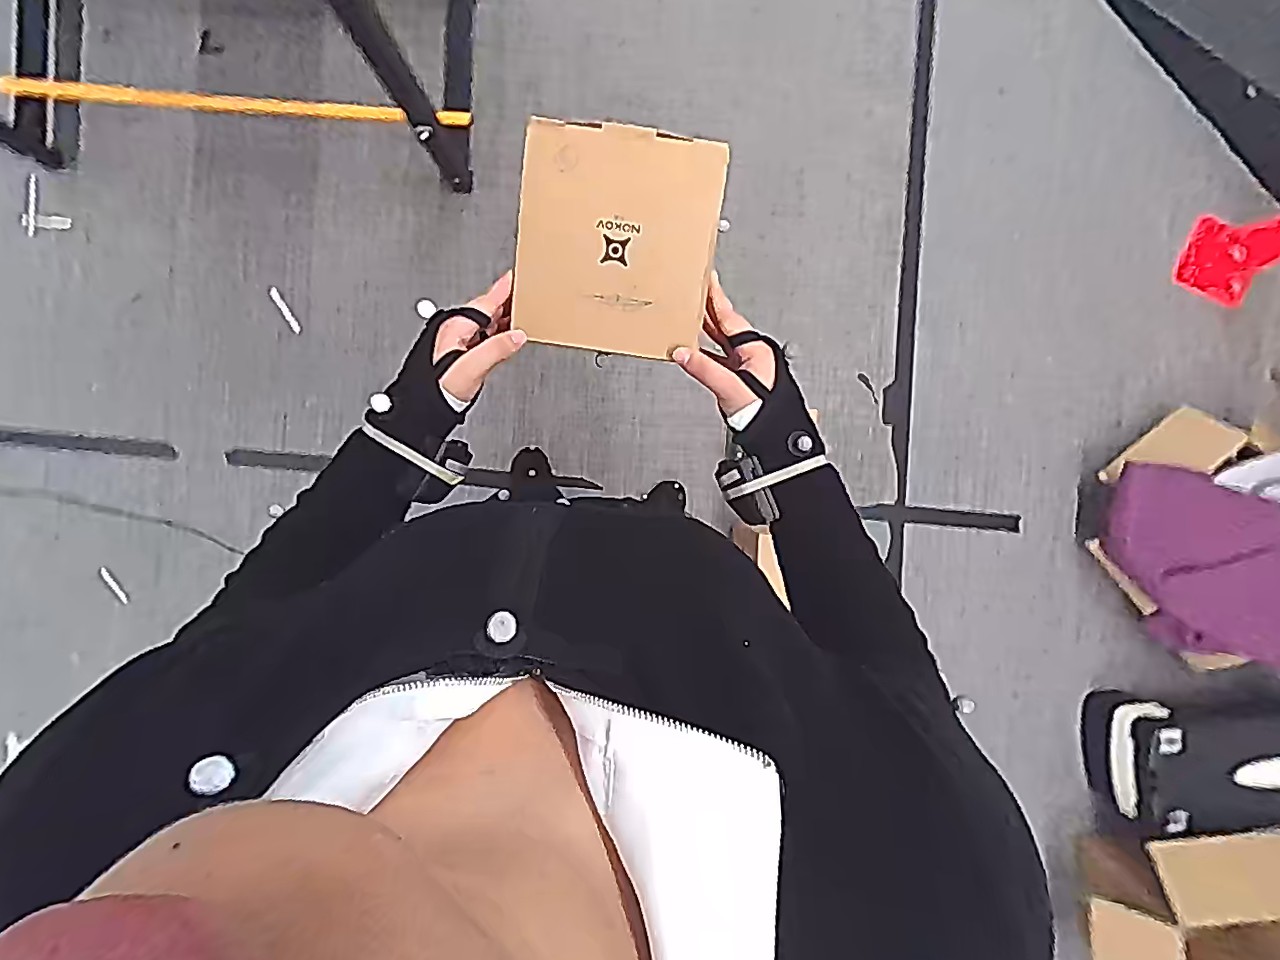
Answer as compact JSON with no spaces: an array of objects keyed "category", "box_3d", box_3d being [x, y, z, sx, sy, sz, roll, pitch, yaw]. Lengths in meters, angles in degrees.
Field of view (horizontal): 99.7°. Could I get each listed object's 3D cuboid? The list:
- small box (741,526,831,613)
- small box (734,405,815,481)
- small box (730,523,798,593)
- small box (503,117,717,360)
[{"category":"small box","box_3d":[0.333,0.201,1.262,0.168,0.176,0.179,2,92,0]},{"category":"small box","box_3d":[0.346,-0.093,1.420,0.168,0.176,0.179,6,90,0]},{"category":"small box","box_3d":[0.337,0.205,1.428,0.179,0.176,0.168,2,91,1]},{"category":"small box","box_3d":[-0.027,-0.217,0.533,0.168,0.176,0.179,7,103,0]}]
